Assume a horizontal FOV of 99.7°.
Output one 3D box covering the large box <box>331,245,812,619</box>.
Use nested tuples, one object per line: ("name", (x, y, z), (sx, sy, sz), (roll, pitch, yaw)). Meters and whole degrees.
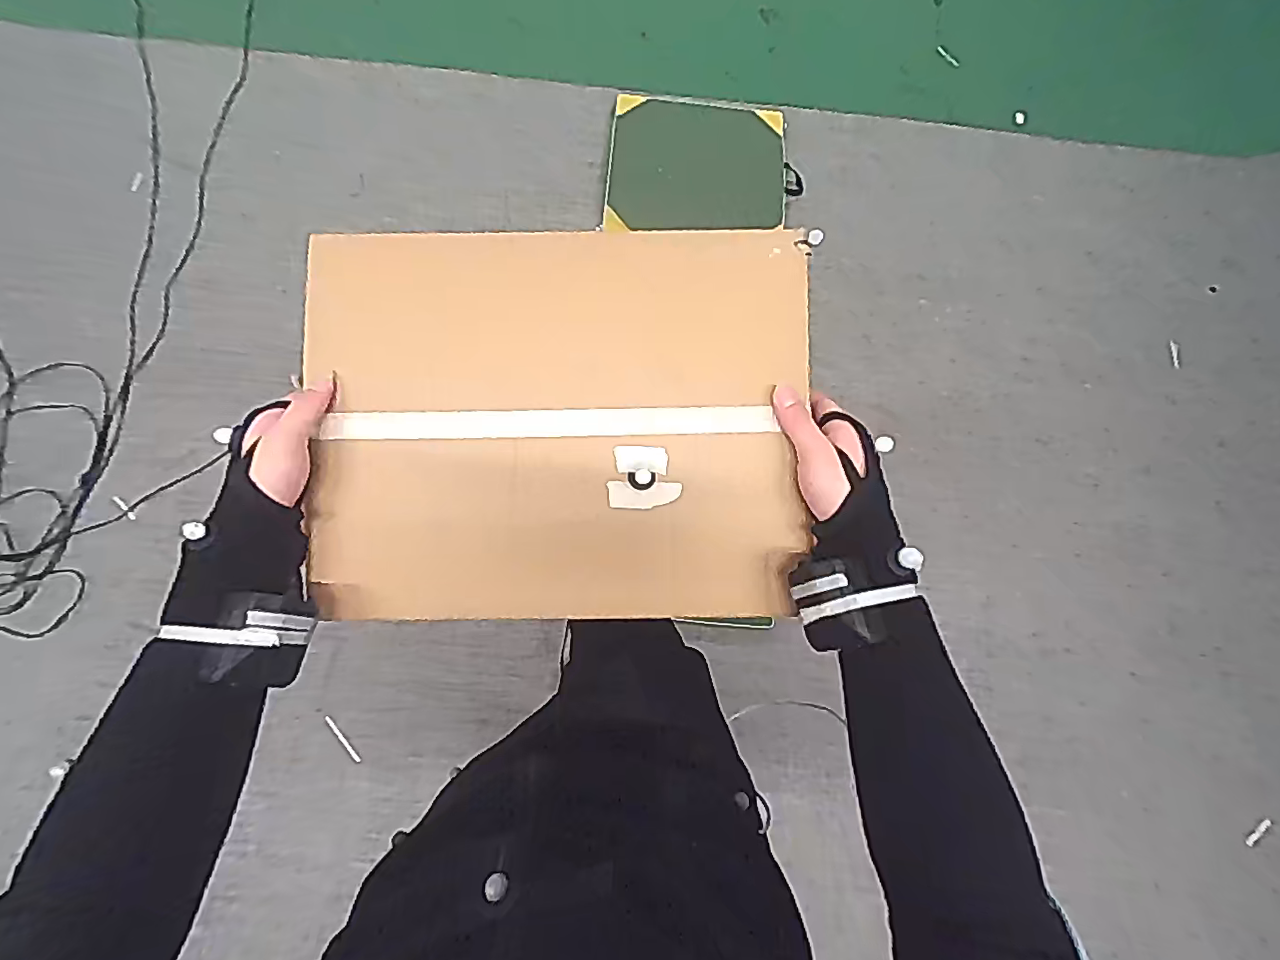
("large box", (-0.062, -0.036, 0.602), (0.408, 0.320, 0.320), (-1, 88, -1))
